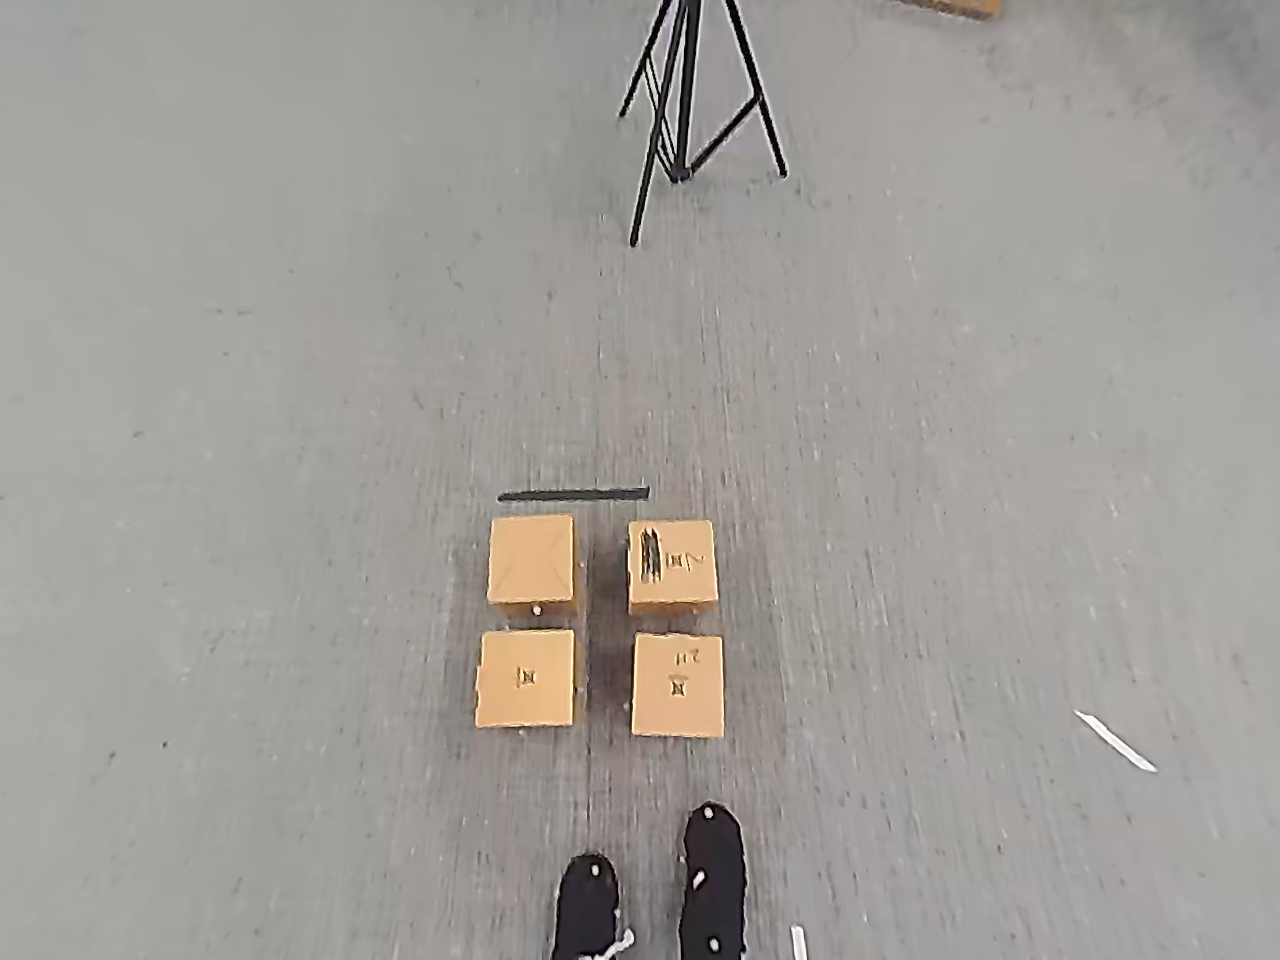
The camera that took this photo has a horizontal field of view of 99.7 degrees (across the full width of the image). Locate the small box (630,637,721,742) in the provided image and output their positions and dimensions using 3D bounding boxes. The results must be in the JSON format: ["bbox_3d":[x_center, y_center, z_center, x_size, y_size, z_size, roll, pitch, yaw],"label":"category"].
[{"bbox_3d":[0.067,0.413,1.068,0.168,0.176,0.179,3,67,-1],"label":"small box"}]

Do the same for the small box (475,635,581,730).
[{"bbox_3d":[-0.210,0.400,1.070,0.179,0.176,0.168,-1,67,-1],"label":"small box"}]
